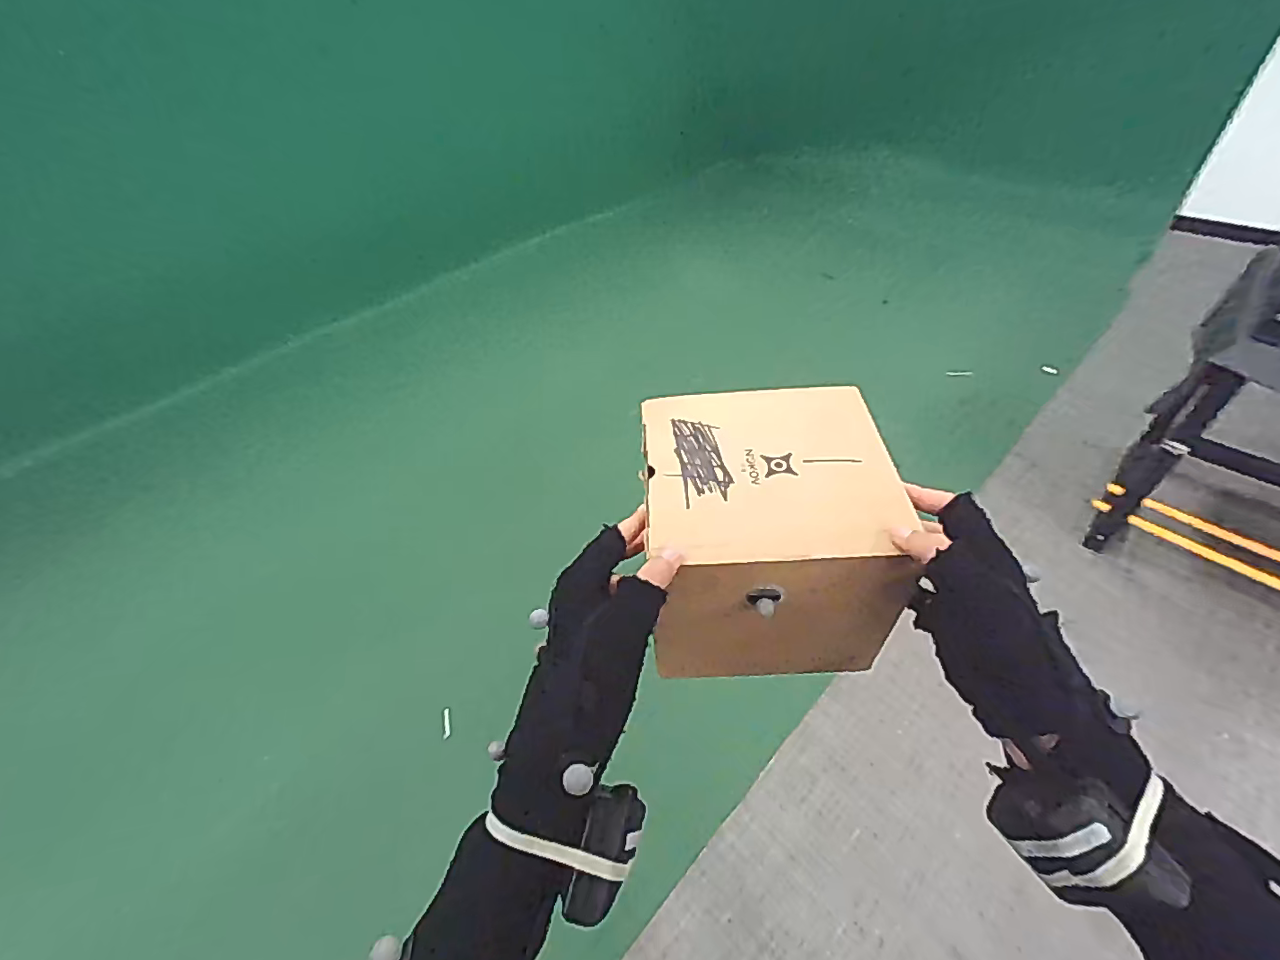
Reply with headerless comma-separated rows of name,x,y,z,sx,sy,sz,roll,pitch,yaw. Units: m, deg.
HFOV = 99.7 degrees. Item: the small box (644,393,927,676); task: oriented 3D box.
small box,0.097,0.049,0.444,0.179,0.176,0.168,-3,47,3
